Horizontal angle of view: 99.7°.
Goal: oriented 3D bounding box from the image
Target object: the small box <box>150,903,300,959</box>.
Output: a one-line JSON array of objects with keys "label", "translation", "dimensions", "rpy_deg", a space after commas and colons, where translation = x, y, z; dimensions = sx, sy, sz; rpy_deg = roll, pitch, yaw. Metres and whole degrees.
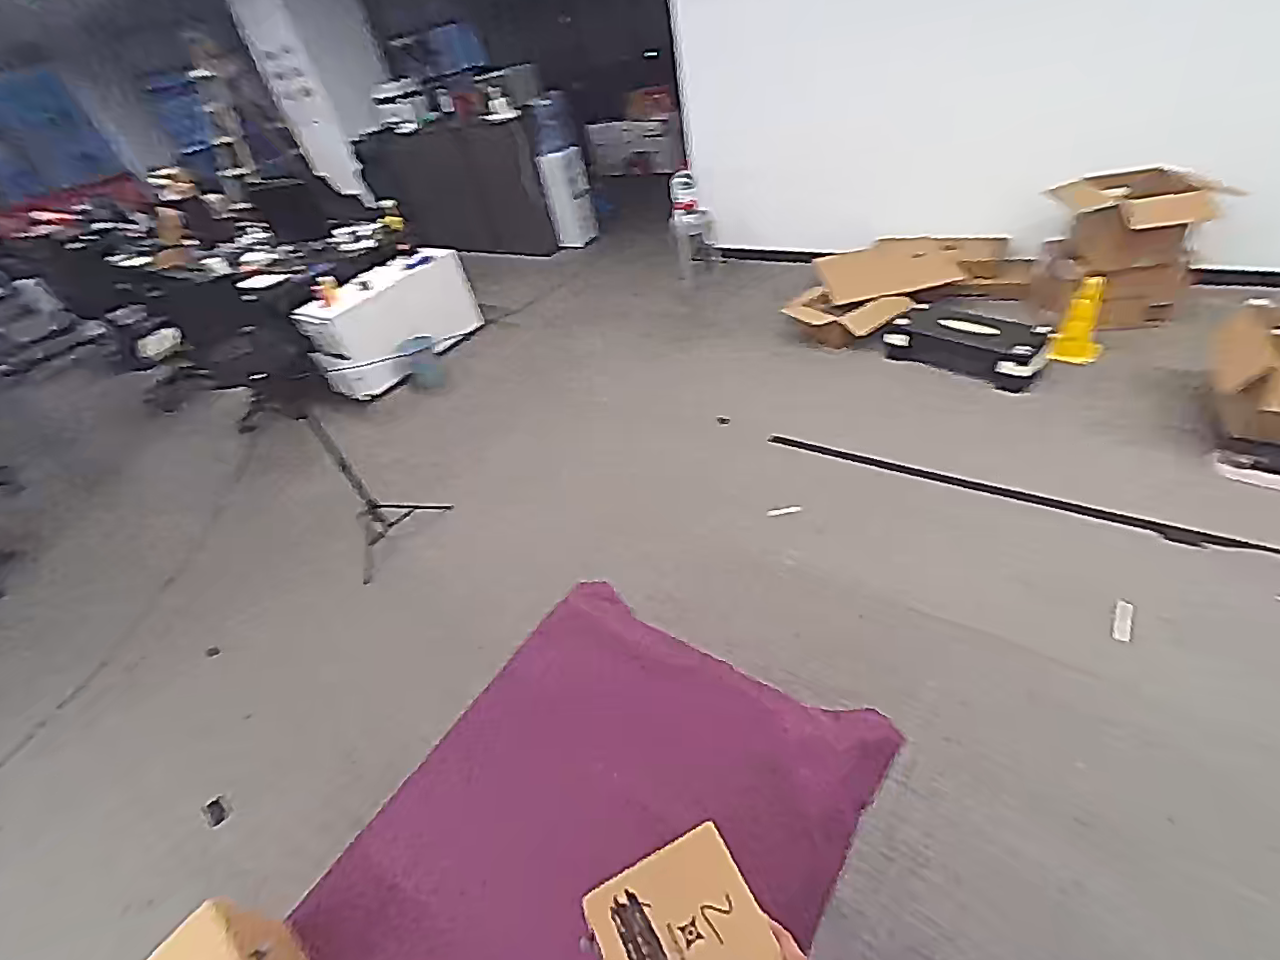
[{"label": "small box", "translation": [-0.537, 0.689, 0.673], "dimensions": [0.179, 0.176, 0.168], "rpy_deg": [20, 51, 33]}]
